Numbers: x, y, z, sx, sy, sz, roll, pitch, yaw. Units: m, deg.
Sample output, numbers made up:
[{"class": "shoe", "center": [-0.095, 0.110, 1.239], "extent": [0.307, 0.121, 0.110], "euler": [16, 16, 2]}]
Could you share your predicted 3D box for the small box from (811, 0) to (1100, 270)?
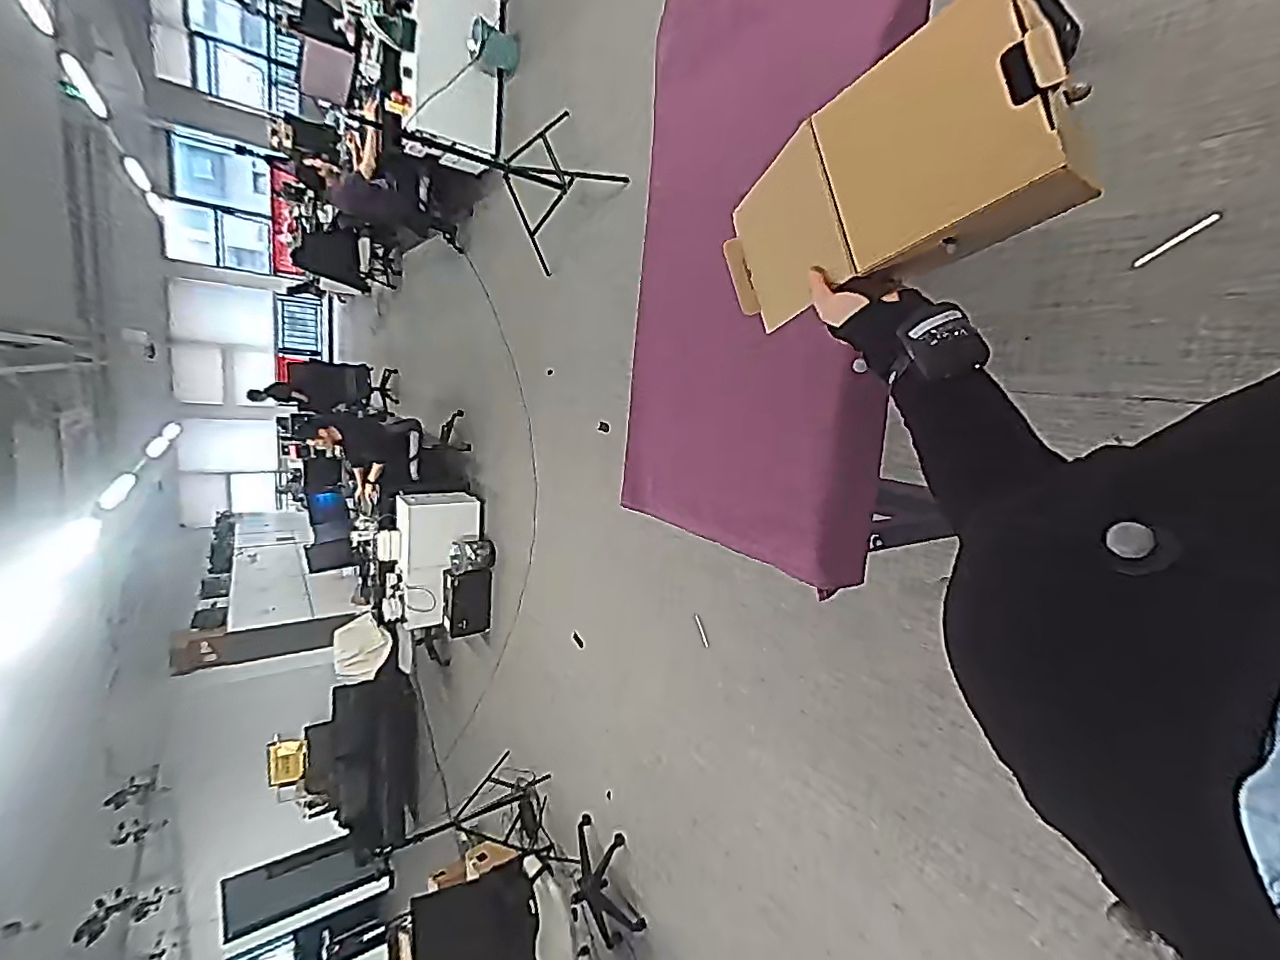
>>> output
[{"class": "small box", "center": [0.305, -0.319, 0.527], "extent": [0.179, 0.176, 0.168], "euler": [-17, 91, 50]}]
